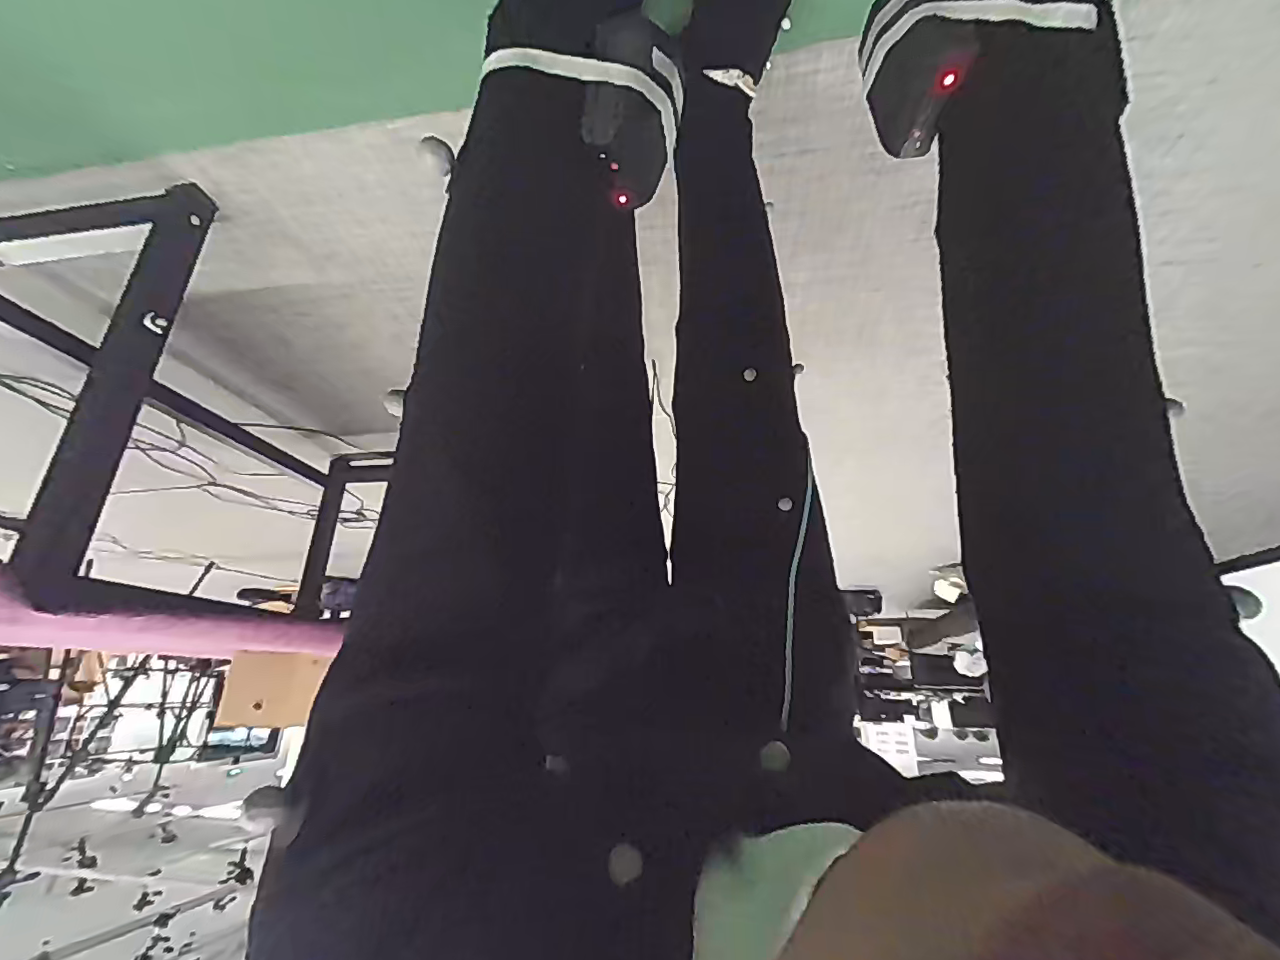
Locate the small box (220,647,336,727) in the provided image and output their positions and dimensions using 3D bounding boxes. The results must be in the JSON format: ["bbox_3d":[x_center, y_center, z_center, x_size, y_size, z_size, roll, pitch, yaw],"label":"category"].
[{"bbox_3d":[-0.878,0.502,1.330,0.179,0.176,0.168,-4,162,8],"label":"small box"}]
